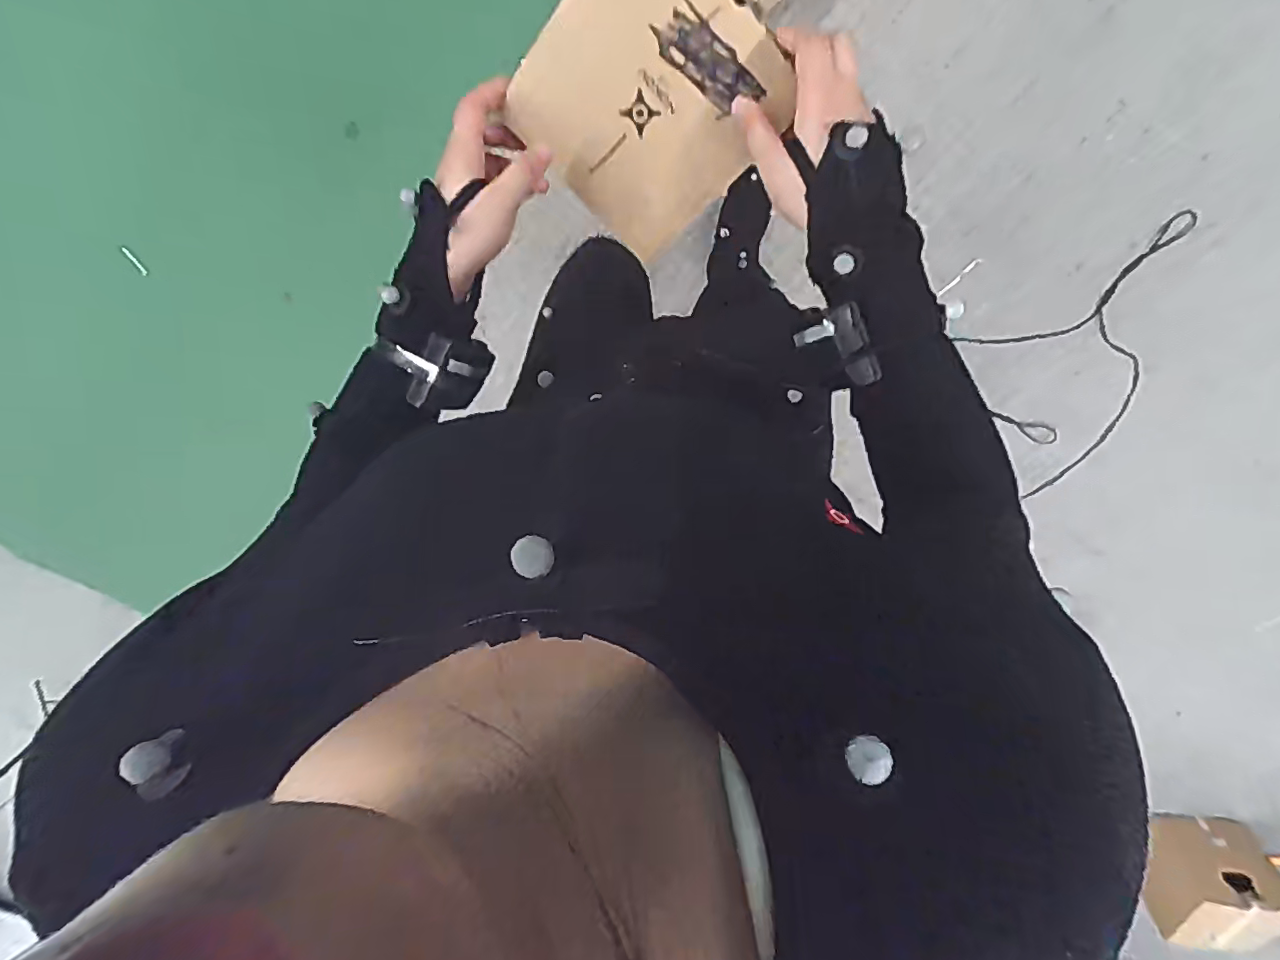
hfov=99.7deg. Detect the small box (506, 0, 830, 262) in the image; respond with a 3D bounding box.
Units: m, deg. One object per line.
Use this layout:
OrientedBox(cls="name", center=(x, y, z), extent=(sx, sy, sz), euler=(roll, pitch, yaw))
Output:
OrientedBox(cls="small box", center=(0.021, -0.326, 0.440), extent=(0.168, 0.176, 0.179), euler=(36, 127, -26))
